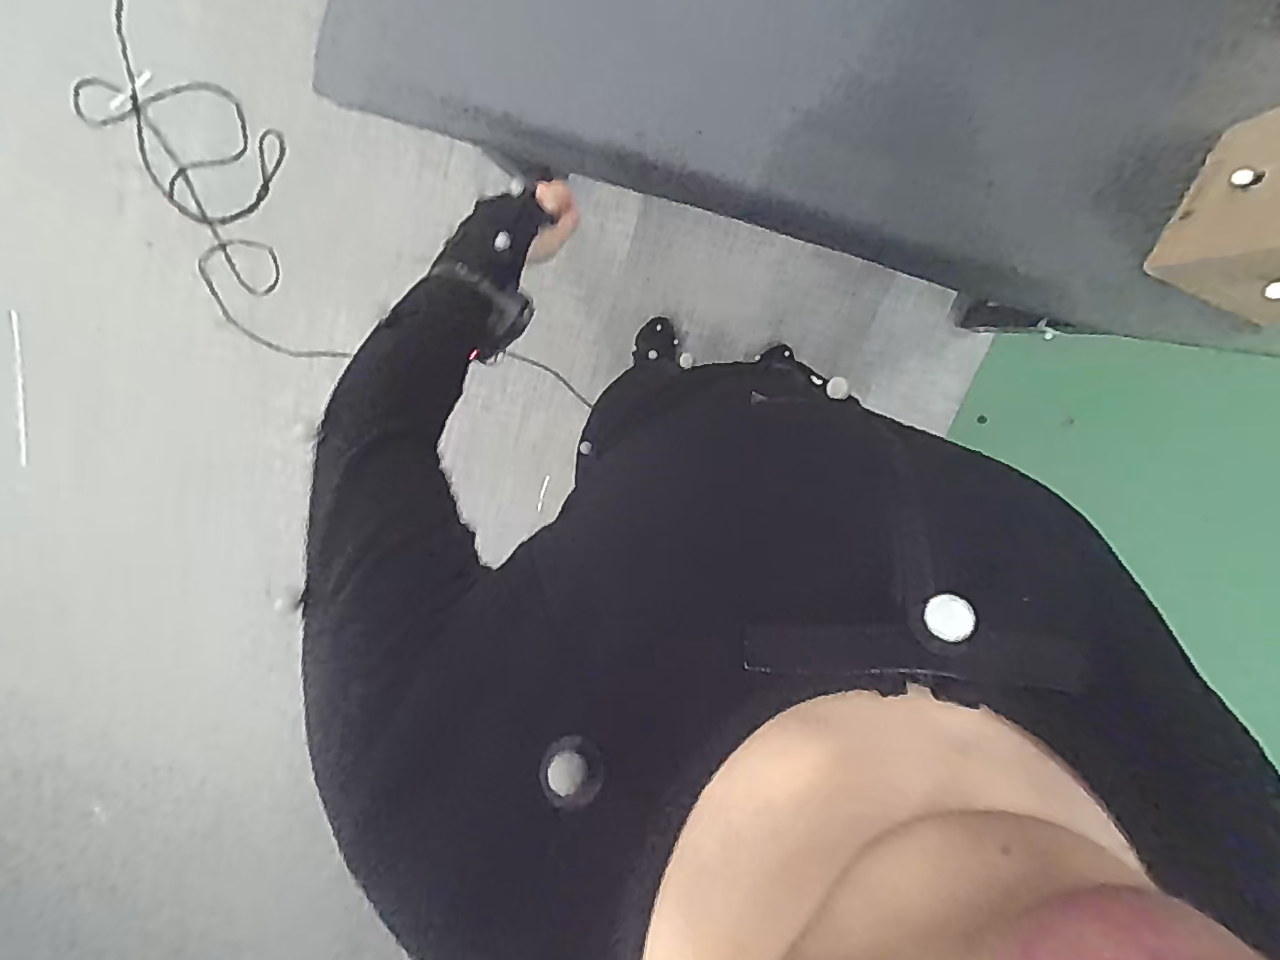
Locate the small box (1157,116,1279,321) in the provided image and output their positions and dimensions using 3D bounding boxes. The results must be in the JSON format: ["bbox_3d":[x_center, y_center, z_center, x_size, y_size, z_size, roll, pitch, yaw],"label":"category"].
[{"bbox_3d":[0.702,-0.269,0.543,0.179,0.176,0.168,23,104,-2],"label":"small box"}]
